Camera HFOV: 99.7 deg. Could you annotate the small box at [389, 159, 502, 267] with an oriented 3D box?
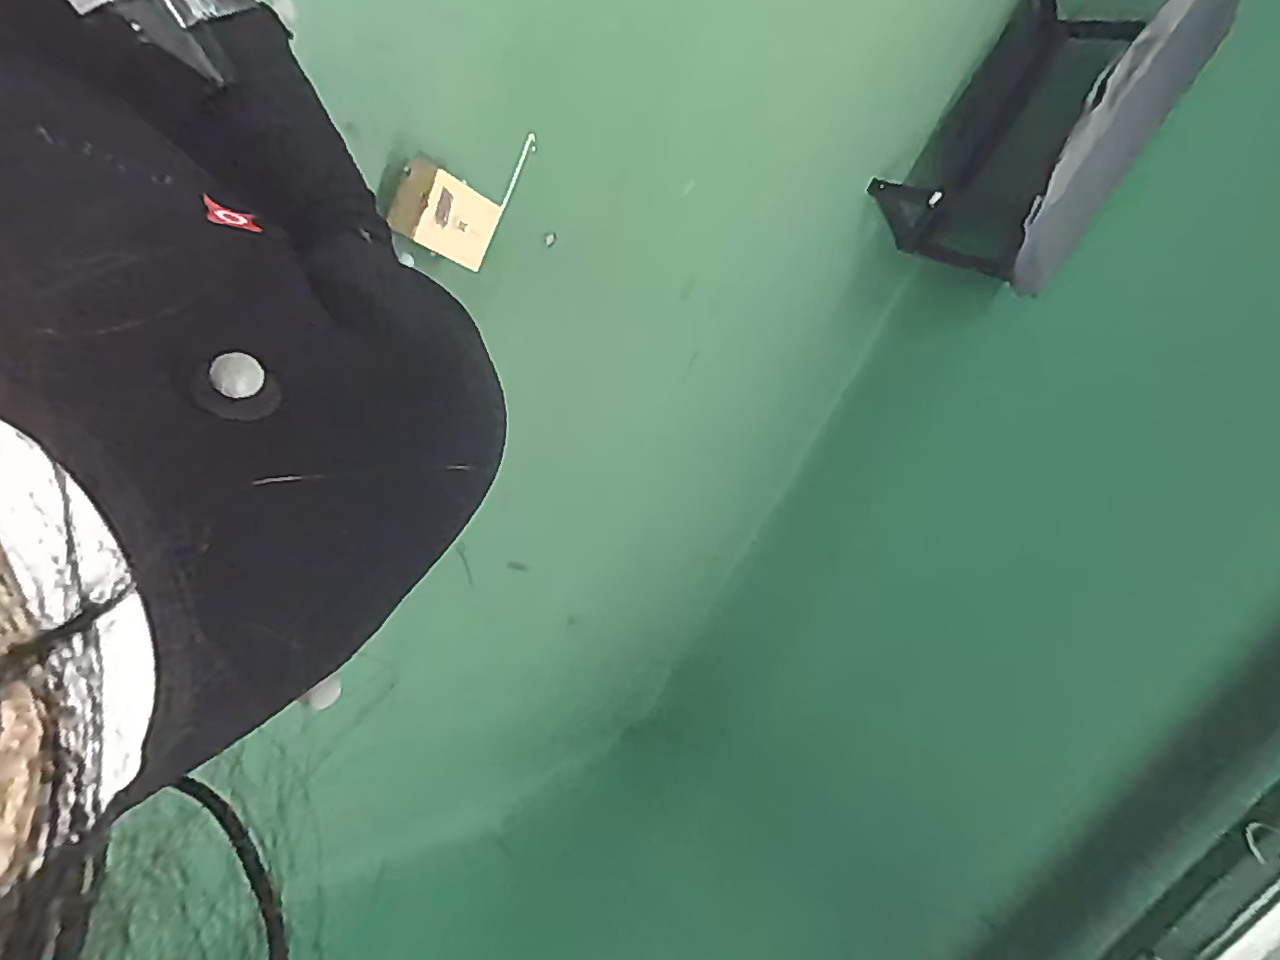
[{"bbox_3d":[-0.473,-0.646,1.305,0.179,0.176,0.168,11,112,-52],"label":"small box"}]
